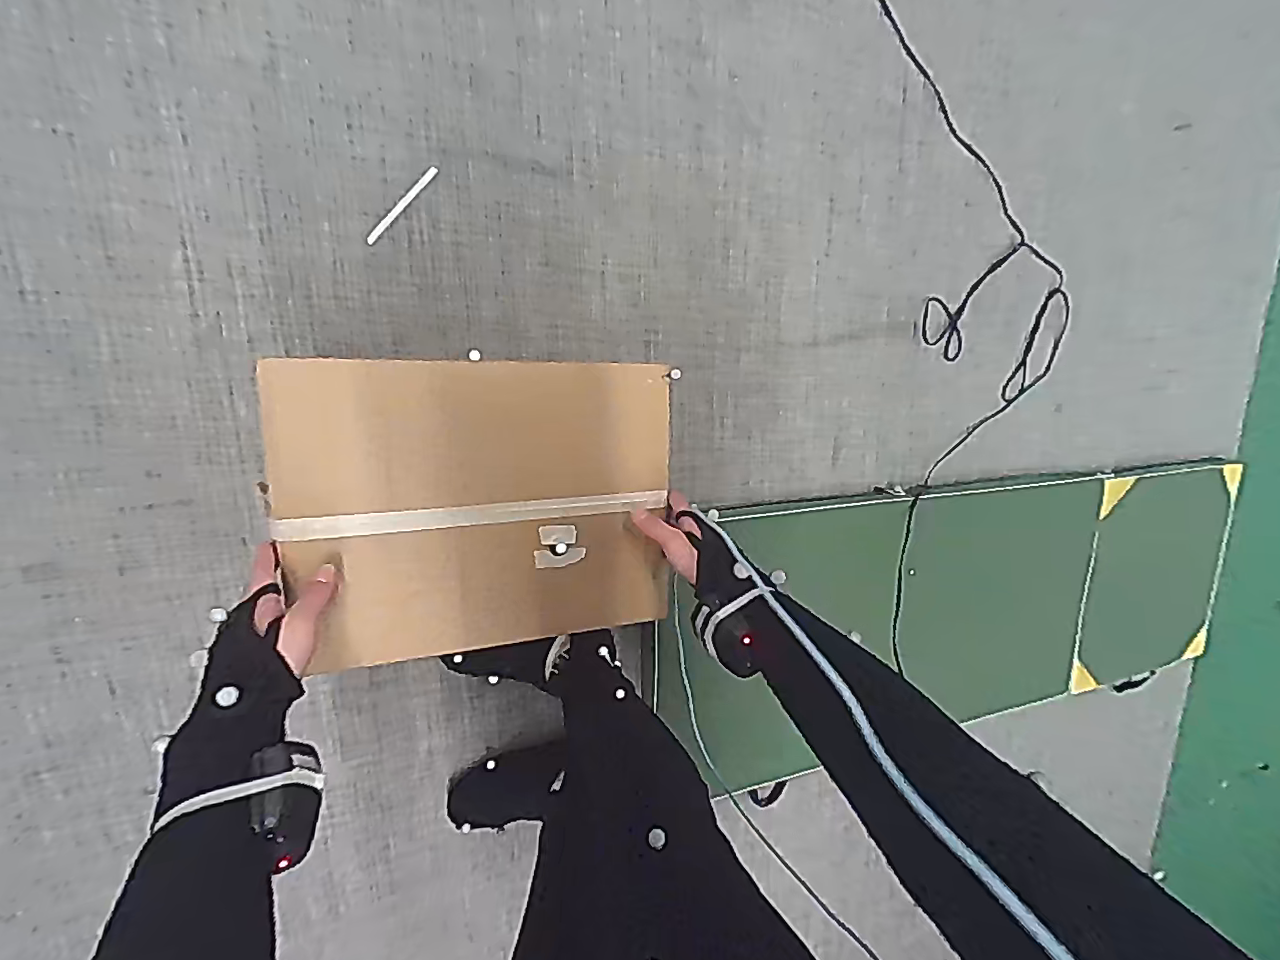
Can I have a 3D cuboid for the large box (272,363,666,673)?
[{"bbox_3d":[-0.209,0.011,0.728,0.408,0.320,0.320,-4,101,-21],"label":"large box"}]
